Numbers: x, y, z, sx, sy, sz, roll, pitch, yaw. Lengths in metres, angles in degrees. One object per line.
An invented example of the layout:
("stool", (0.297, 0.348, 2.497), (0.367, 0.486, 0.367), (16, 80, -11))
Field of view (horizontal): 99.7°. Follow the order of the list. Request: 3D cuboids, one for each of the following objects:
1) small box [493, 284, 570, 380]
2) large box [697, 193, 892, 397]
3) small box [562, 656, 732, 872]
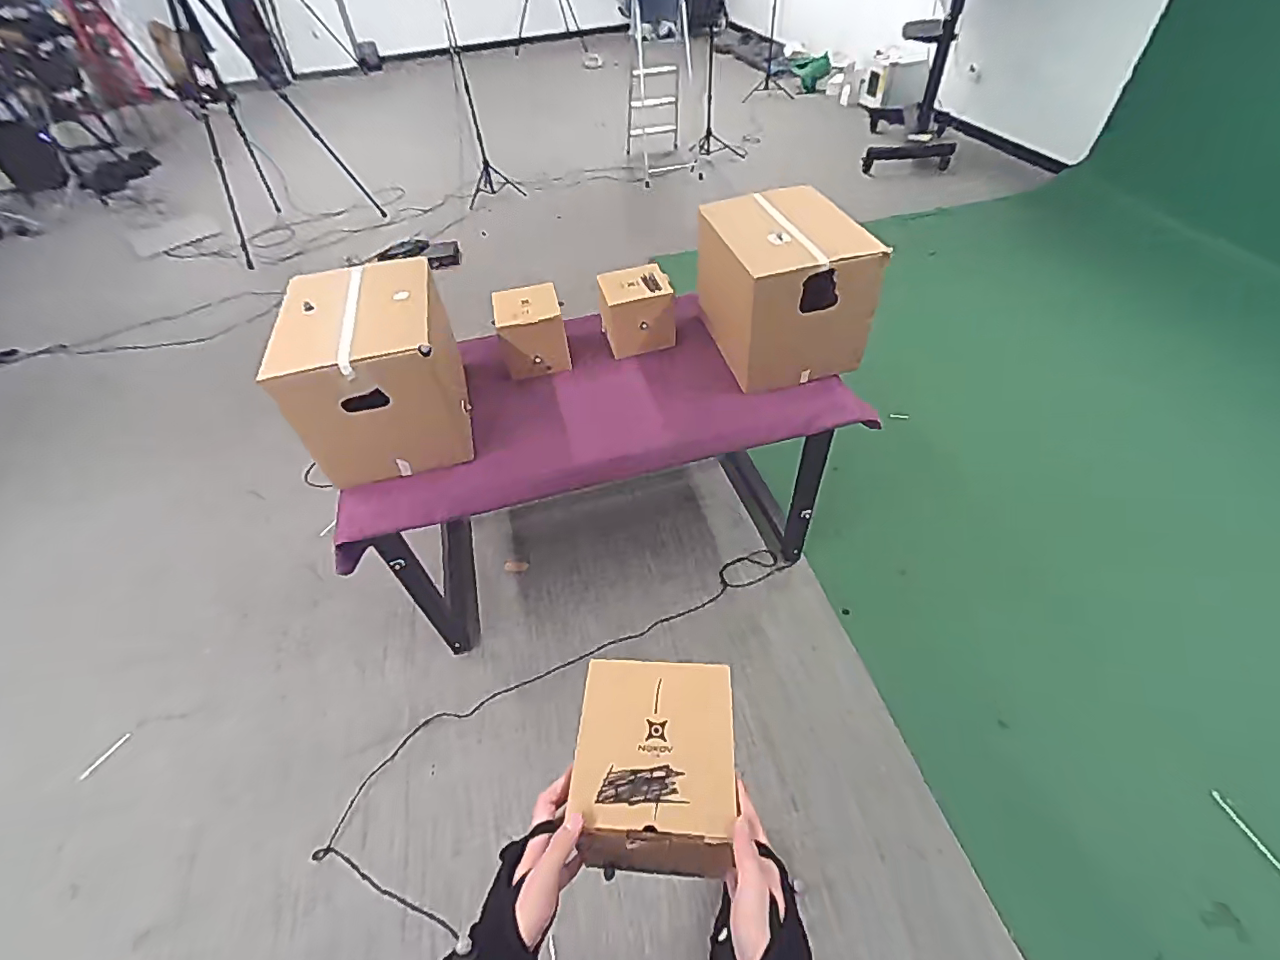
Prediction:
("small box", (-0.288, -0.392, 1.439), (0.168, 0.176, 0.179), (-13, 49, -6))
("large box", (0.352, -0.474, 1.370), (0.320, 0.320, 0.408), (-13, 49, -5))
("small box", (0.018, 0.325, 0.620), (0.168, 0.176, 0.179), (1, 43, 5))
